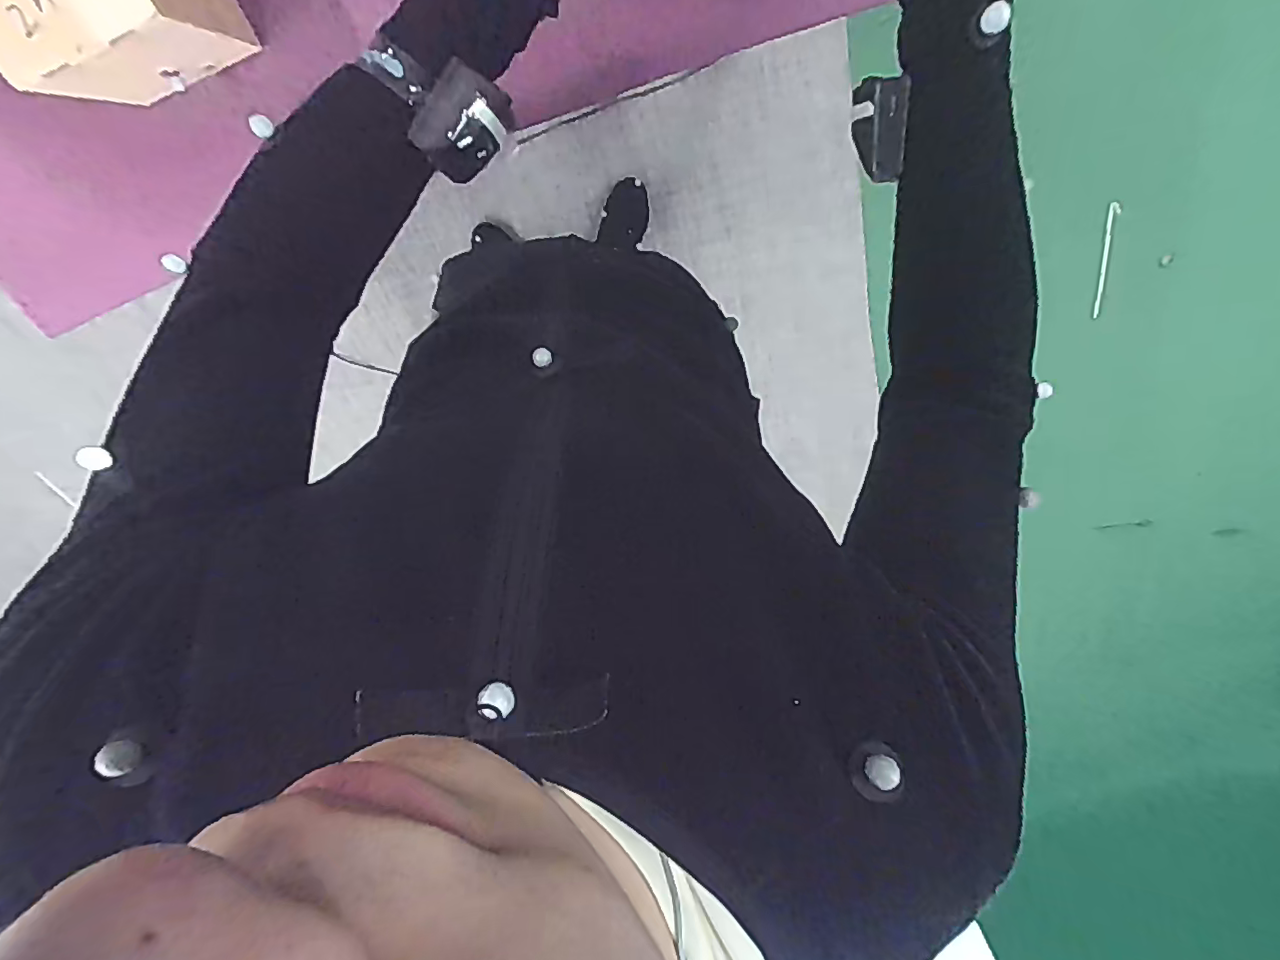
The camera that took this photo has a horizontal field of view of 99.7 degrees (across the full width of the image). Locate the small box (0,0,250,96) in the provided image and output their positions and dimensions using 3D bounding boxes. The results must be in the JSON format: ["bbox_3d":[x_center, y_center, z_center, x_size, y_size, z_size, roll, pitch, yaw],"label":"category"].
[{"bbox_3d":[-0.531,-0.495,0.507,0.168,0.176,0.179,-18,121,7],"label":"small box"}]
